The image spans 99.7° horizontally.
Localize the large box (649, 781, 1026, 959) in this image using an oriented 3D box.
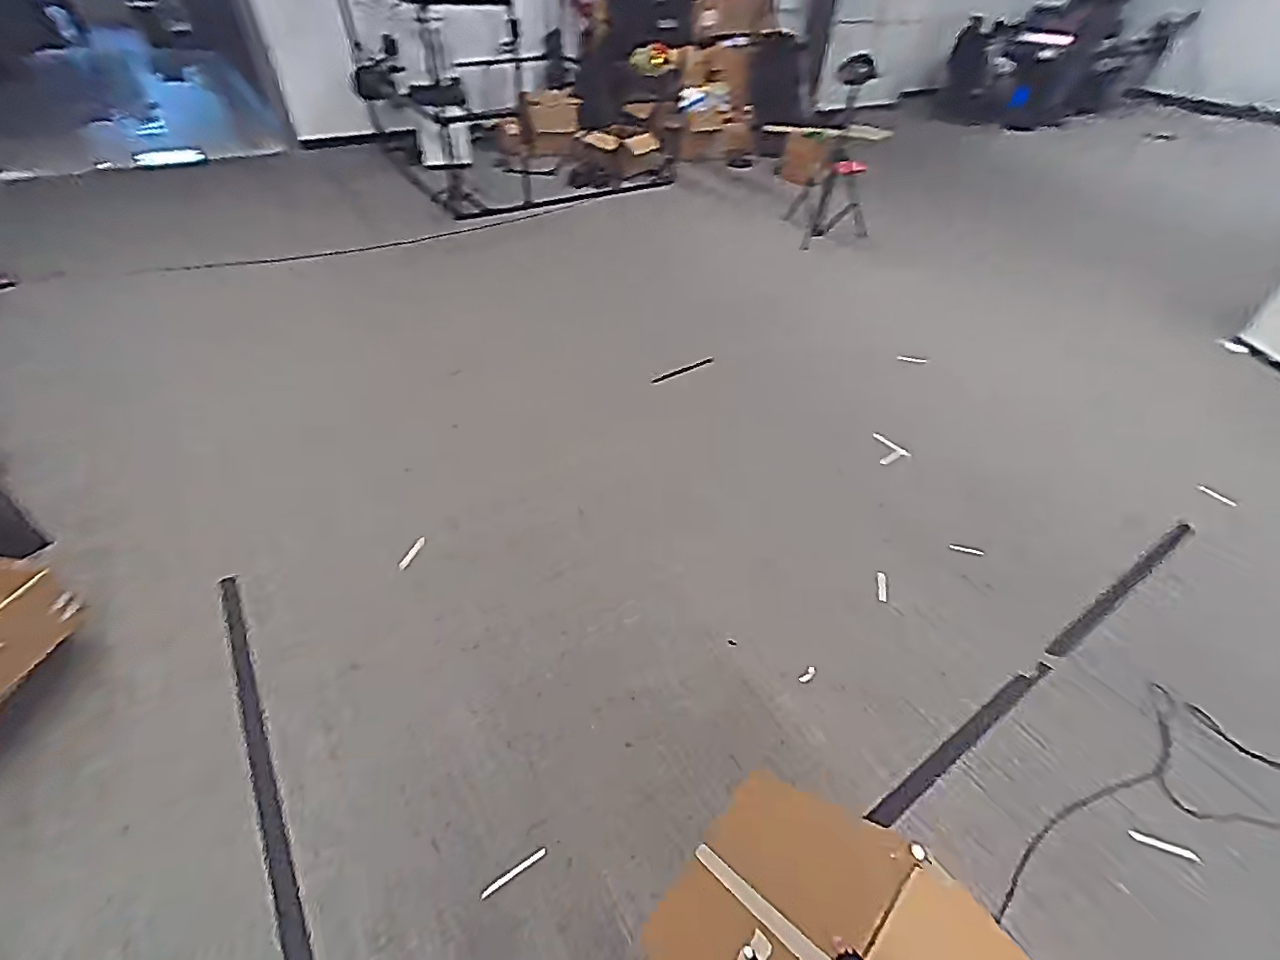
[{"bbox_3d":[0.267,0.668,0.696,0.320,0.408,0.320,46,68,1],"label":"large box"}]
